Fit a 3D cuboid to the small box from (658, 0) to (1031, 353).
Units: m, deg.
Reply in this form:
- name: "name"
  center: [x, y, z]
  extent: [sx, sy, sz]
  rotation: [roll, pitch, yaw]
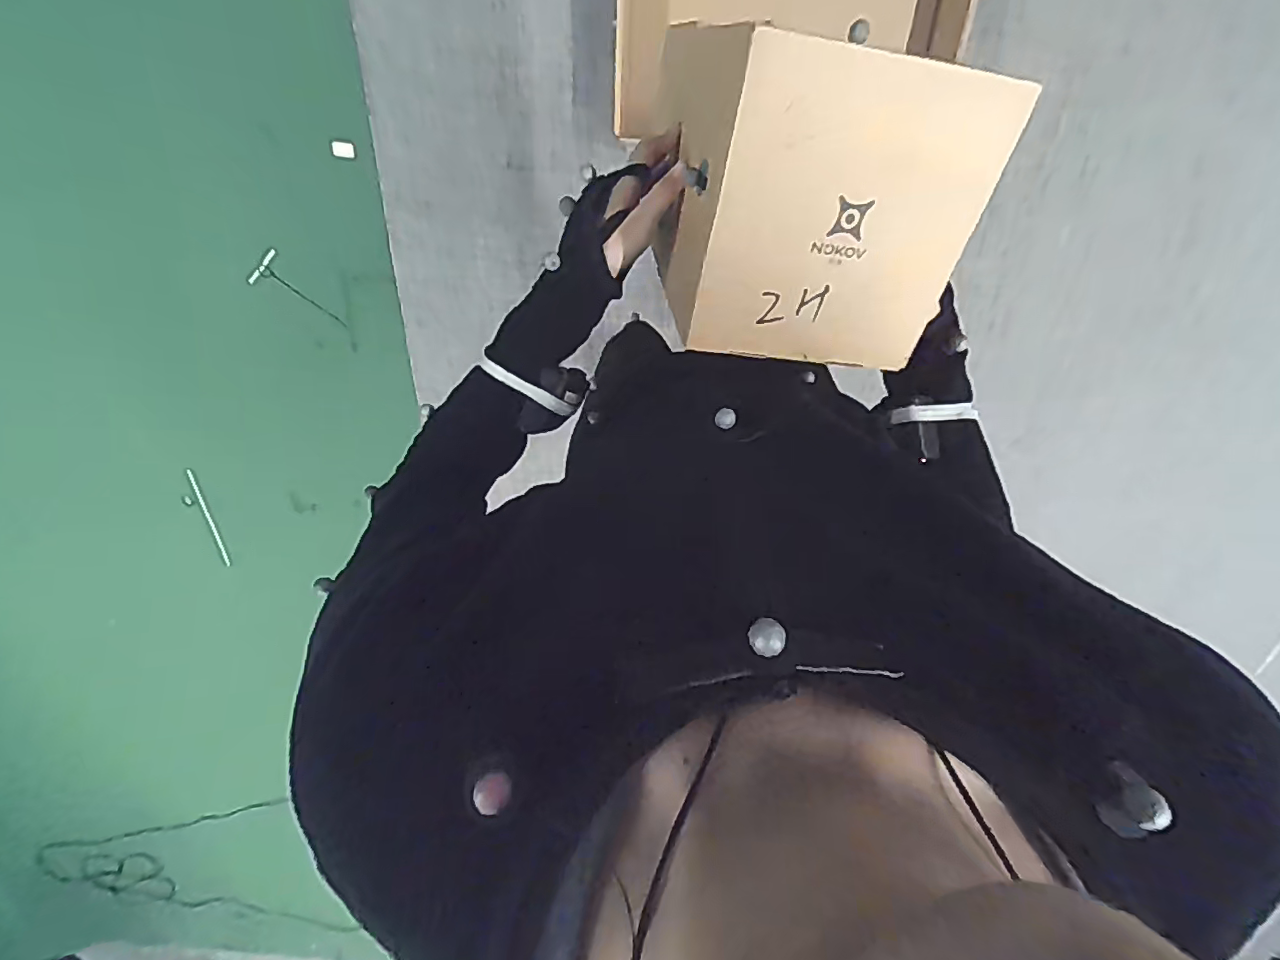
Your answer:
- name: "small box"
  center: [0.112, -0.215, 0.389]
  extent: [0.168, 0.176, 0.179]
  rotation: [5, 129, -9]
